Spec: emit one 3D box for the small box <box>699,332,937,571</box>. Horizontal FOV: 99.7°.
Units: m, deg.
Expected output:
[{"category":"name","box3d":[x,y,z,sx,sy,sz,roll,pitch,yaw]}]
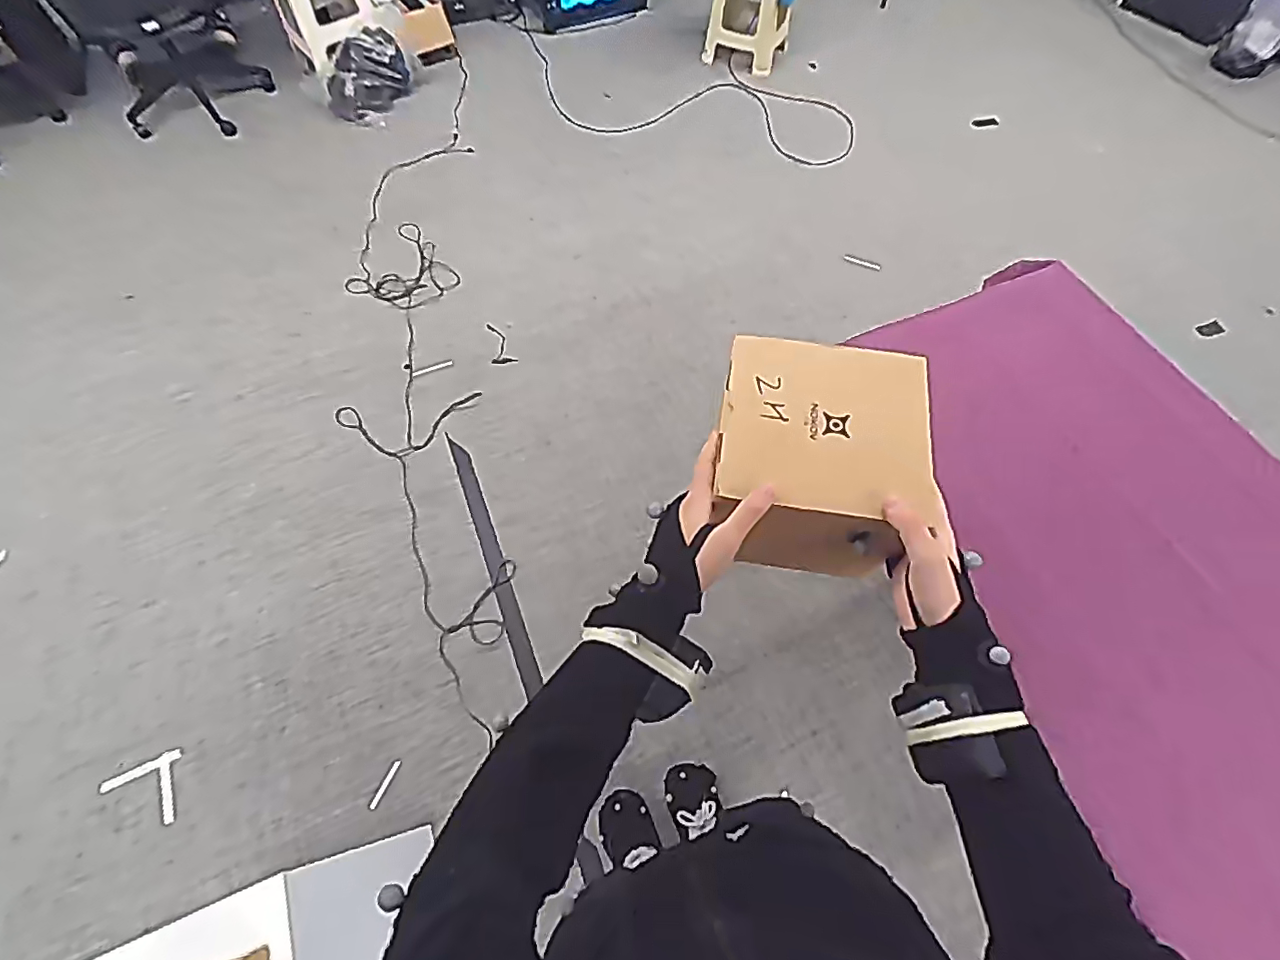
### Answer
[{"category":"small box","box3d":[0.159,-0.017,0.527,0.179,0.176,0.168,8,66,5]}]
